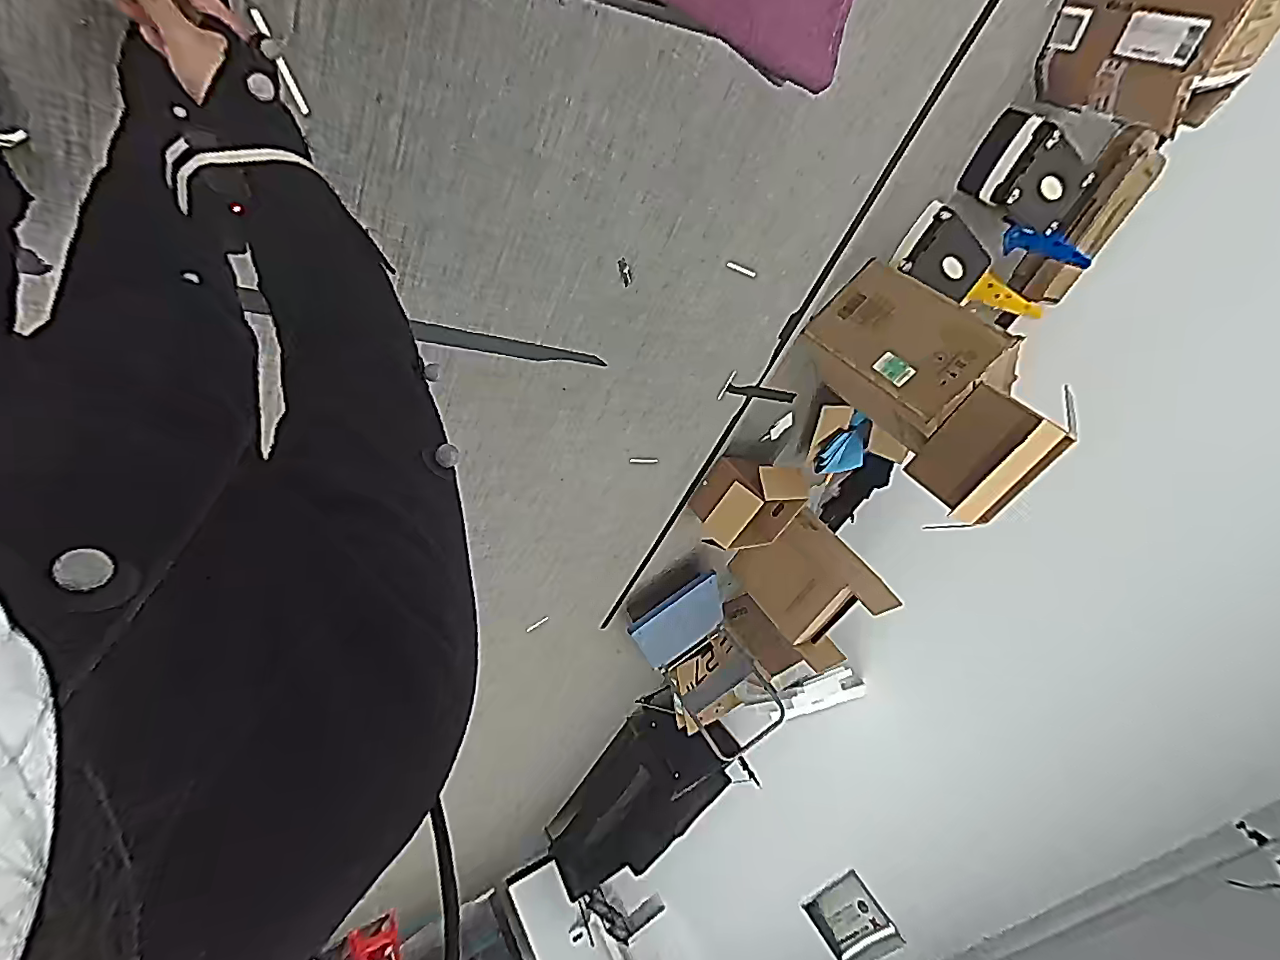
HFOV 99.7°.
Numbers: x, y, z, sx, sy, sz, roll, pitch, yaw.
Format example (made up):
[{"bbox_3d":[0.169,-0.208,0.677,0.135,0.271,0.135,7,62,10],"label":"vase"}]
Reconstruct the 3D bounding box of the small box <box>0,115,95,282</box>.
[{"bbox_3d":[-0.869,-0.389,0.725,0.179,0.176,0.168,-5,130,-50],"label":"small box"}]
